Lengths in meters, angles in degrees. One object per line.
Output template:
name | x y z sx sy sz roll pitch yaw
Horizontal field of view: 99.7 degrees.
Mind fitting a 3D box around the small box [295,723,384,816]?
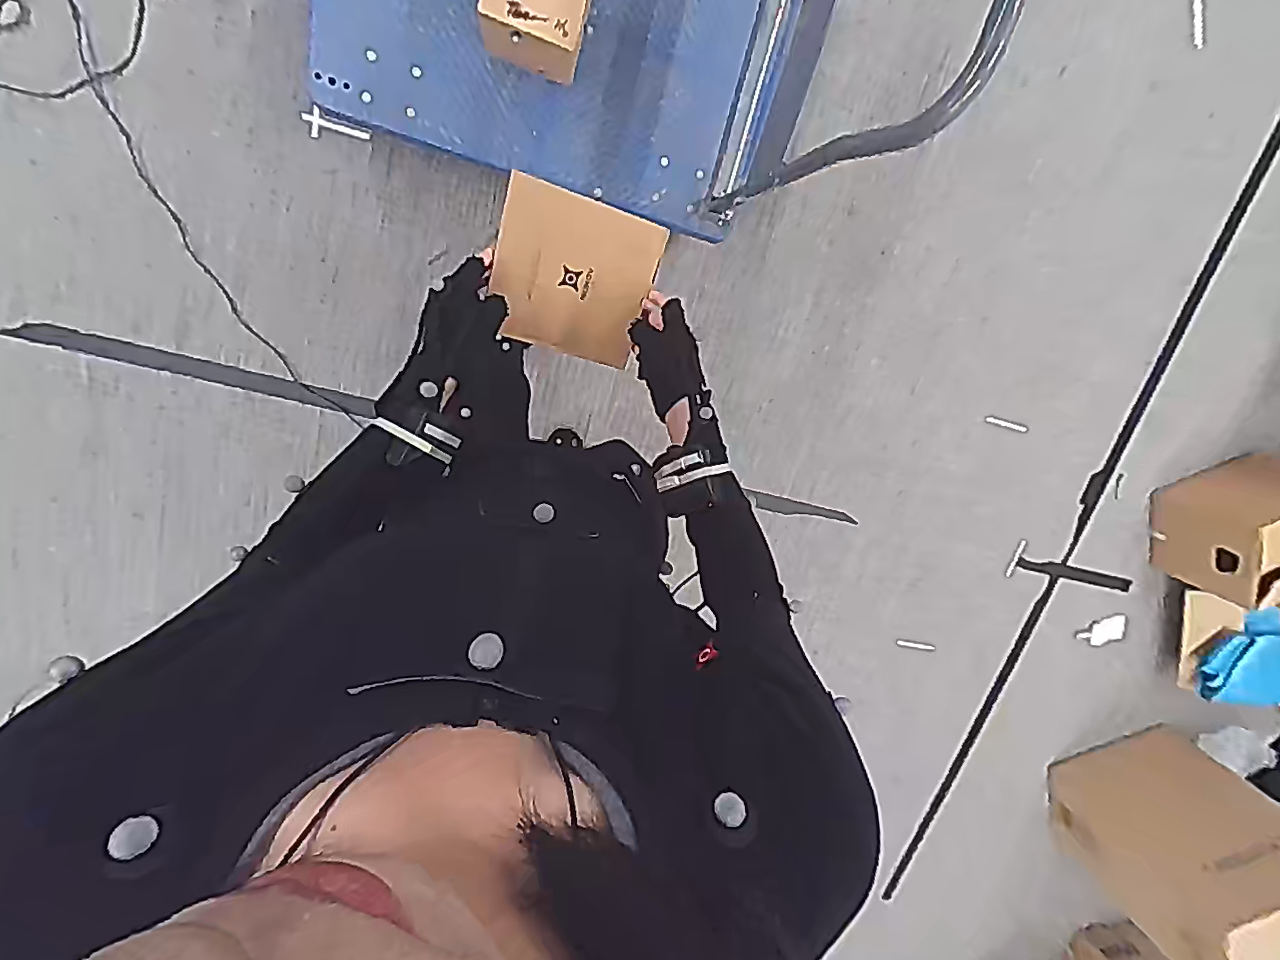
small box | -0.870 0.842 1.588 0.179 0.176 0.168 -6 109 -8

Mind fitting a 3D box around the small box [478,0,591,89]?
small box | -0.178 -0.843 0.953 0.168 0.176 0.179 14 104 -14

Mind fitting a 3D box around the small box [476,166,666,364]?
small box | -0.092 -0.263 0.666 0.179 0.176 0.168 13 112 -17
